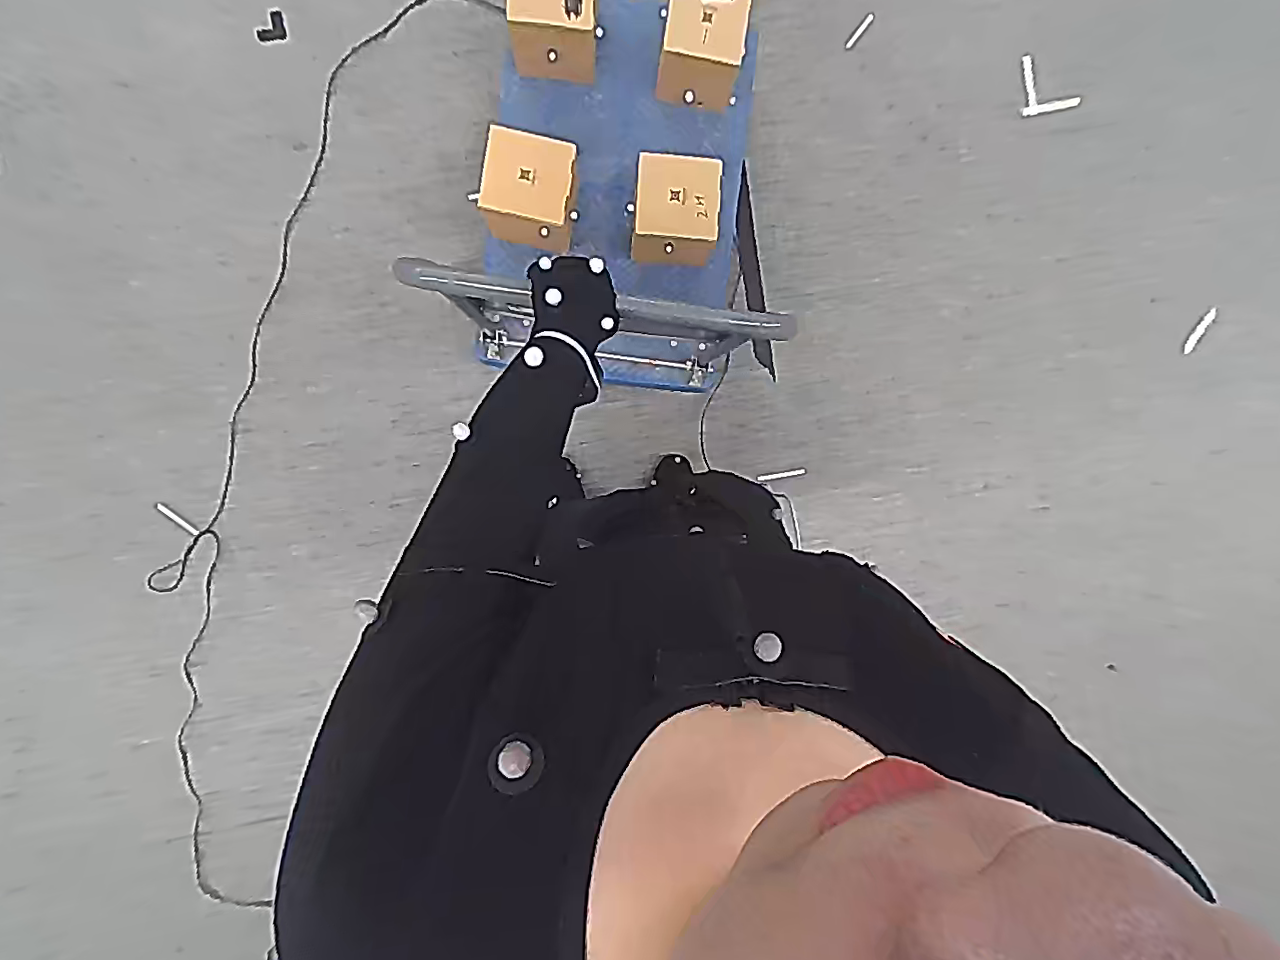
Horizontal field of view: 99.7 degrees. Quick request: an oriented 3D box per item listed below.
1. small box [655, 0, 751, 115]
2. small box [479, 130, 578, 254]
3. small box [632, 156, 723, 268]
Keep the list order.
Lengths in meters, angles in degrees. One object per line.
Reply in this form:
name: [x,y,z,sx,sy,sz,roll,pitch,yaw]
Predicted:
small box: [0.131,-0.945,1.177,0.168,0.176,0.179,8,94,-5]
small box: [-0.233,-0.609,1.169,0.179,0.176,0.168,9,92,-7]
small box: [0.075,-0.583,1.195,0.179,0.176,0.168,3,94,-5]
